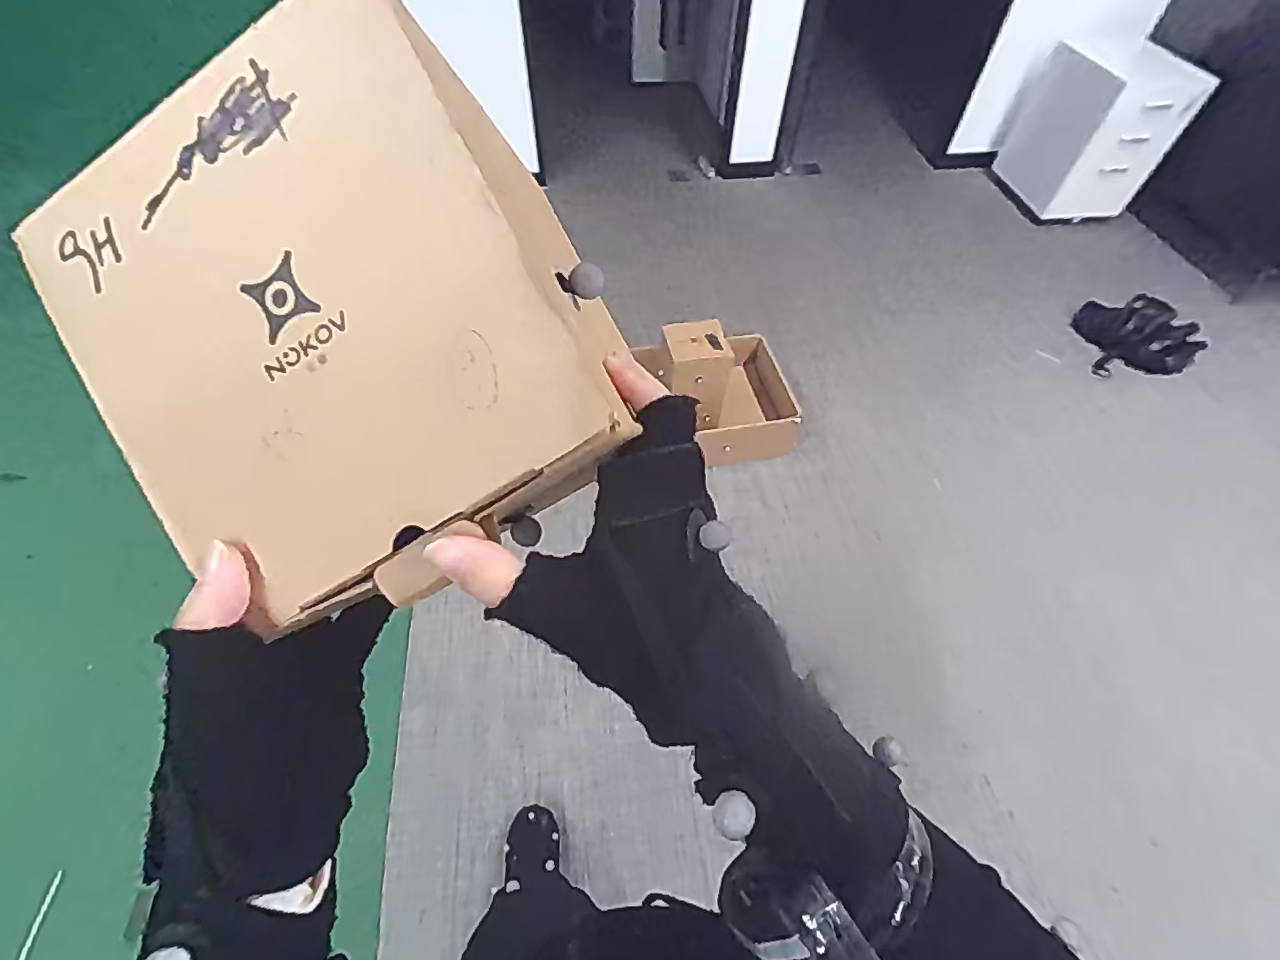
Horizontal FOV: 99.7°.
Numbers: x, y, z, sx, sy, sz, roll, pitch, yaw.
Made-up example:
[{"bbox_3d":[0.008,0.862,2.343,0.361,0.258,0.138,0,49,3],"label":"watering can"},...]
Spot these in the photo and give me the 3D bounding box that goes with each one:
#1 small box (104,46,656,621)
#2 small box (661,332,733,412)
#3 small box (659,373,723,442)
[{"bbox_3d":[-0.107,-0.059,0.296,0.168,0.176,0.179,-31,89,11],"label":"small box"},{"bbox_3d":[0.165,-0.322,1.630,0.179,0.176,0.168,-8,53,-7],"label":"small box"},{"bbox_3d":[0.160,-0.238,1.752,0.168,0.176,0.179,-8,53,-8],"label":"small box"}]
